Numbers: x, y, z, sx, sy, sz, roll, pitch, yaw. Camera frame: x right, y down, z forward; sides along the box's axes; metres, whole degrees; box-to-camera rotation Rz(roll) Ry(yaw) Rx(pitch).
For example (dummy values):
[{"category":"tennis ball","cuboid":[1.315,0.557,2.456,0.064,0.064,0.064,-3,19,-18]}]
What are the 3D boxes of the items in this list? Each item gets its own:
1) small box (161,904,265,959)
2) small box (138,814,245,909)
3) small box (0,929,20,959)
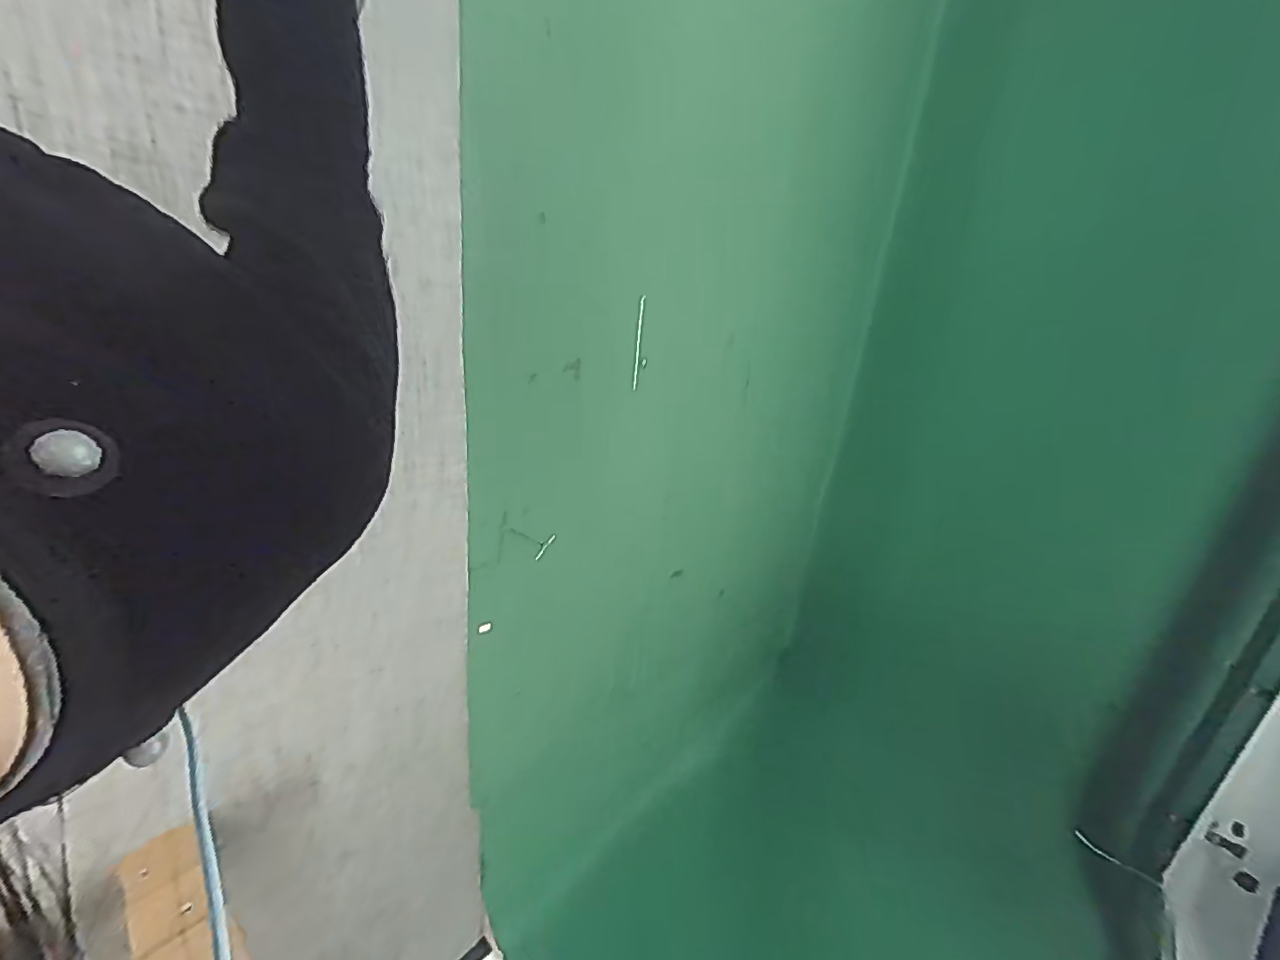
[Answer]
[{"category":"small box","cuboid":[-0.954,1.125,1.213,0.179,0.176,0.168,-21,124,-44]},{"category":"small box","cuboid":[-1.189,1.044,1.431,0.179,0.176,0.168,-23,124,-43]},{"category":"small box","cuboid":[-1.456,1.121,1.152,0.168,0.176,0.179,-16,119,-45]}]
